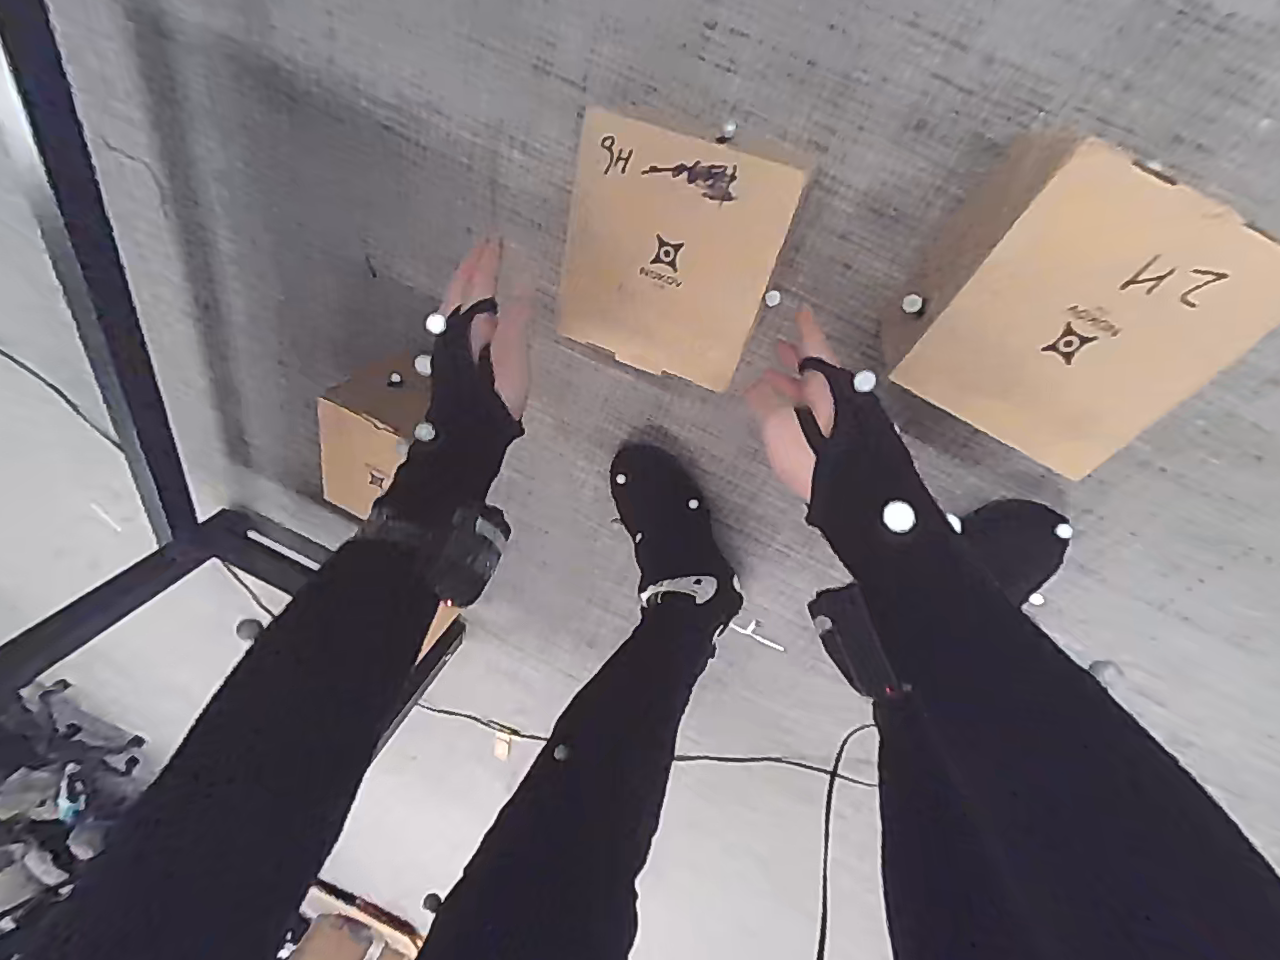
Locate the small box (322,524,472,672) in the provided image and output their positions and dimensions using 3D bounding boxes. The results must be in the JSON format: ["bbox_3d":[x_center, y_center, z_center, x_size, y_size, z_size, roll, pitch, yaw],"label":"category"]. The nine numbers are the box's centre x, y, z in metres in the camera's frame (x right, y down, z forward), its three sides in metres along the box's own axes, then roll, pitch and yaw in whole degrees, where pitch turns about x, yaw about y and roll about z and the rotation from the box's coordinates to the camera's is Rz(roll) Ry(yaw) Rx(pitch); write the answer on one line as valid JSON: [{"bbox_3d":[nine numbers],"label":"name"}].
[{"bbox_3d":[-0.410,0.186,0.932,0.168,0.176,0.179,25,127,5],"label":"small box"}]

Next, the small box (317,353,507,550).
[{"bbox_3d":[-0.300,-0.046,0.733,0.168,0.176,0.179,27,128,5],"label":"small box"}]
